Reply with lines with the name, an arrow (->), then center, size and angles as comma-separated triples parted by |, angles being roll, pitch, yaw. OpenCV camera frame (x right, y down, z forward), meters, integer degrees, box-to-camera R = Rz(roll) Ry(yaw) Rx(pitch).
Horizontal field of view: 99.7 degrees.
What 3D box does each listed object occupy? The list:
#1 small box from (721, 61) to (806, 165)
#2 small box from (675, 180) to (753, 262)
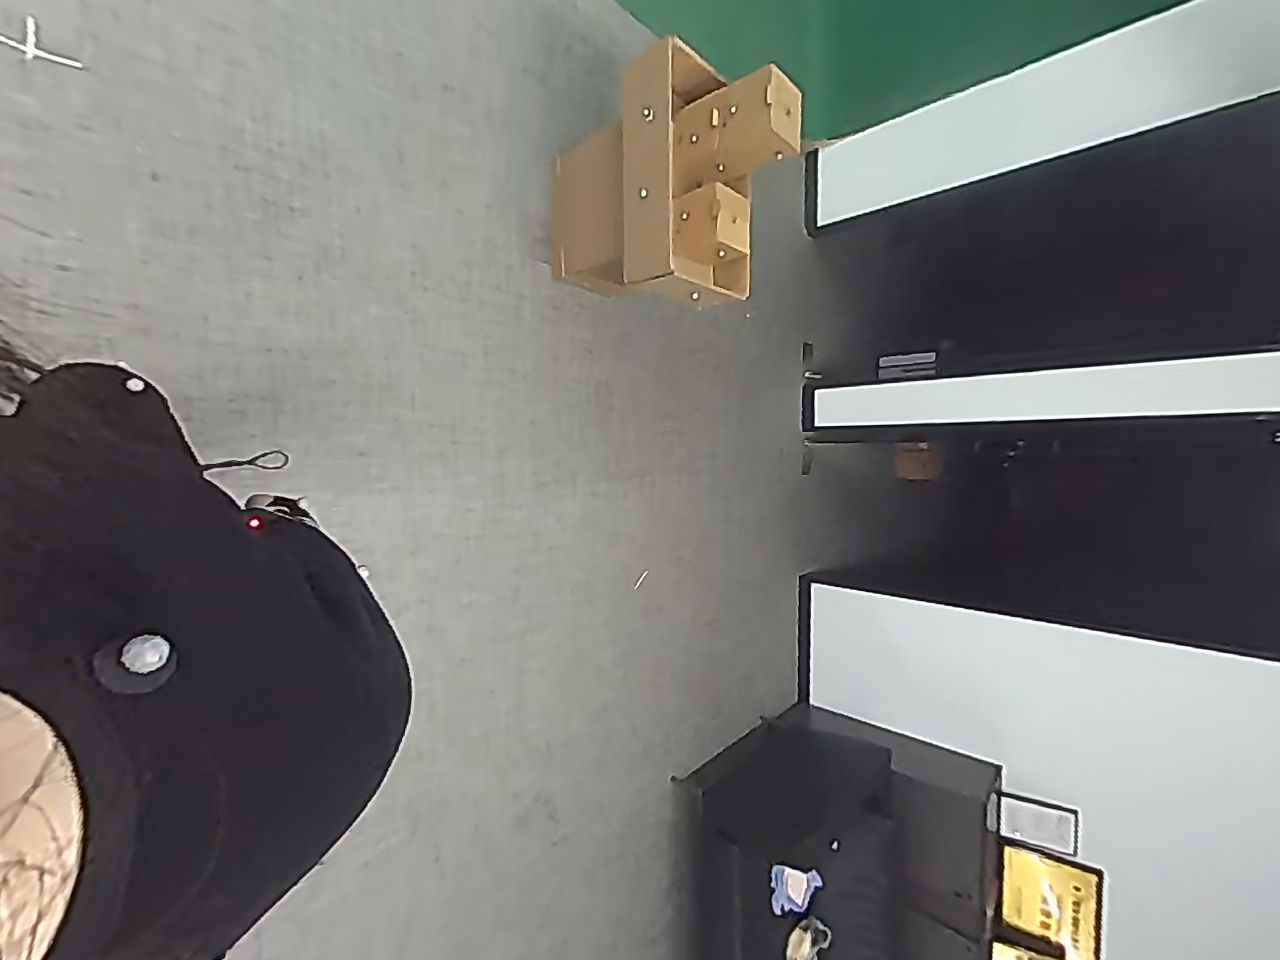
small box -> 0.349, -1.019, 1.525 | 0.179, 0.176, 0.168 | -4, 96, -47
small box -> 0.226, -0.780, 1.651 | 0.179, 0.176, 0.168 | -5, 95, -46
